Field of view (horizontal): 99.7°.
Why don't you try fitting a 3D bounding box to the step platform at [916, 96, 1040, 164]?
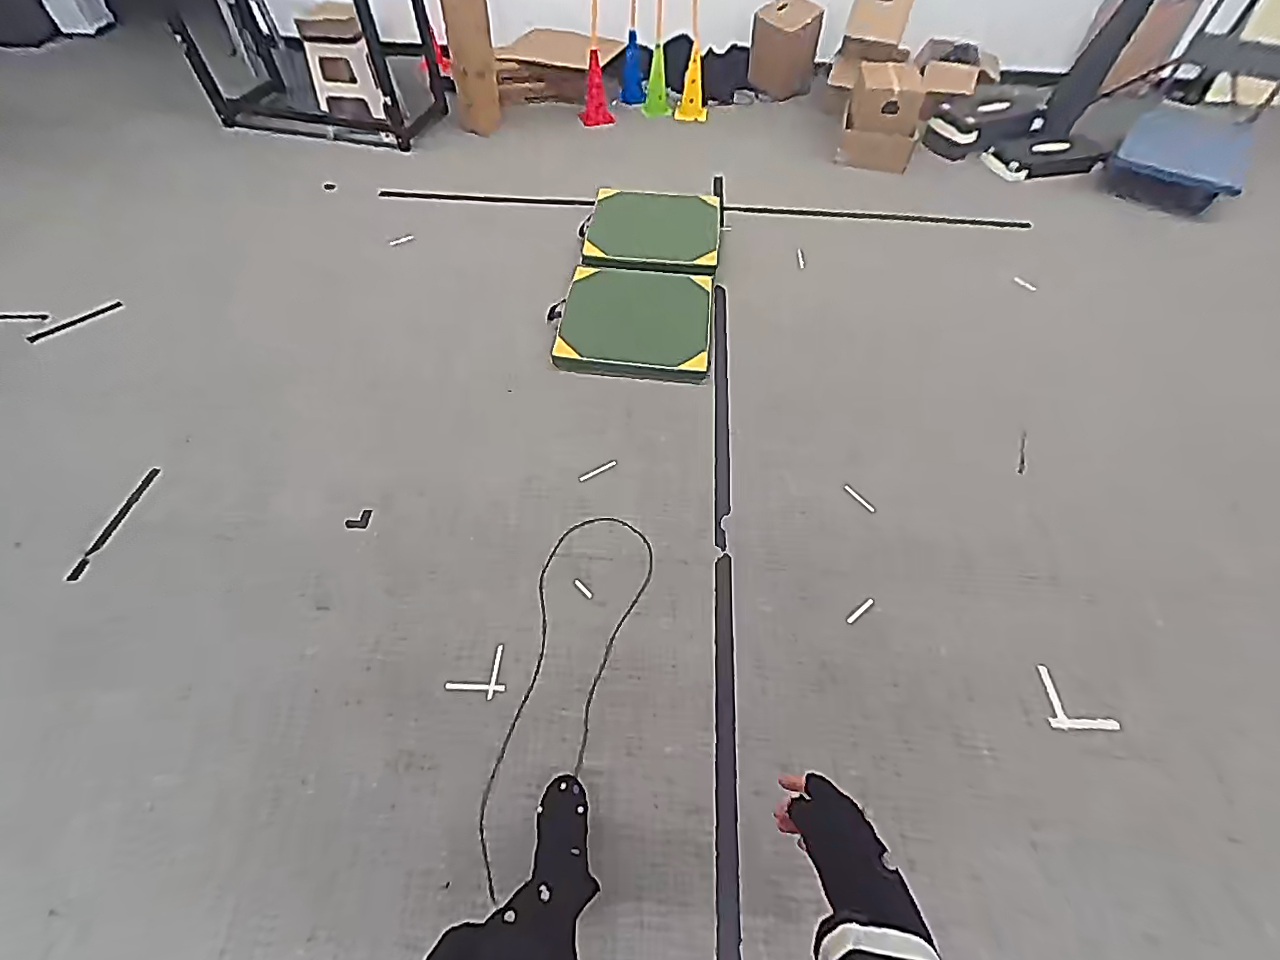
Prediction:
[{"bbox_3d":[2.035,-2.107,3.246,0.684,0.204,0.286,-20,58,-15],"label":"step platform"}]
